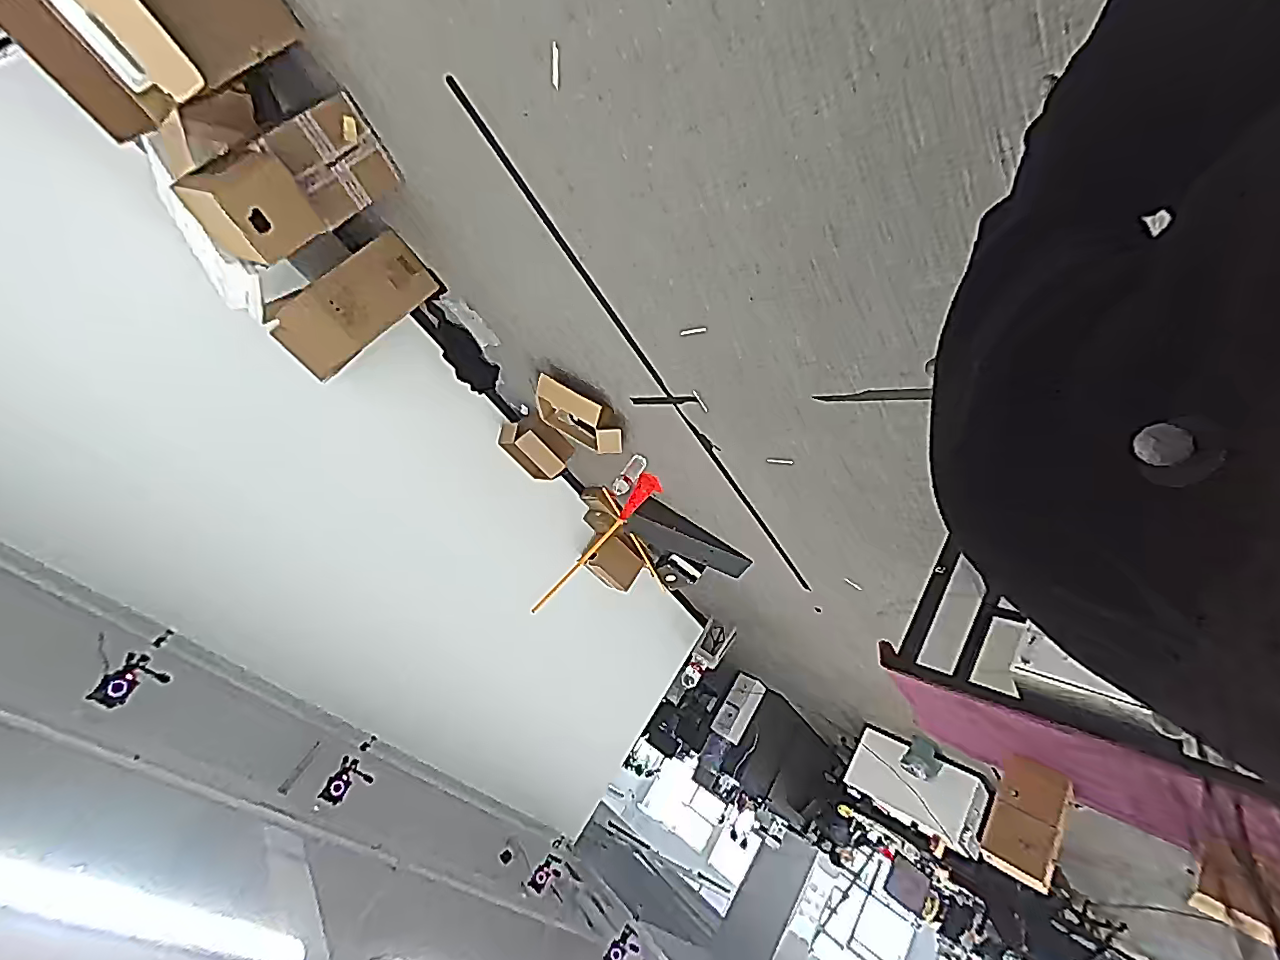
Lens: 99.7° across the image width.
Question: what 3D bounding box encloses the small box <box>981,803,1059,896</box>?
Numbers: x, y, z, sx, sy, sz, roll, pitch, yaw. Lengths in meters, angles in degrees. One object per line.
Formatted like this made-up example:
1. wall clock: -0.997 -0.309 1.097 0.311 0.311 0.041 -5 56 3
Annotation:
1. small box: 1.240 1.193 1.756 0.179 0.176 0.168 11 146 46

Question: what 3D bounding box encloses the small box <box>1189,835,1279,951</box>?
1. small box: 1.612 1.099 1.449 0.168 0.176 0.179 12 145 45

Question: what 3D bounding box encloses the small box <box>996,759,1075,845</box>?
1. small box: 1.330 1.071 1.817 0.179 0.176 0.168 11 146 48
